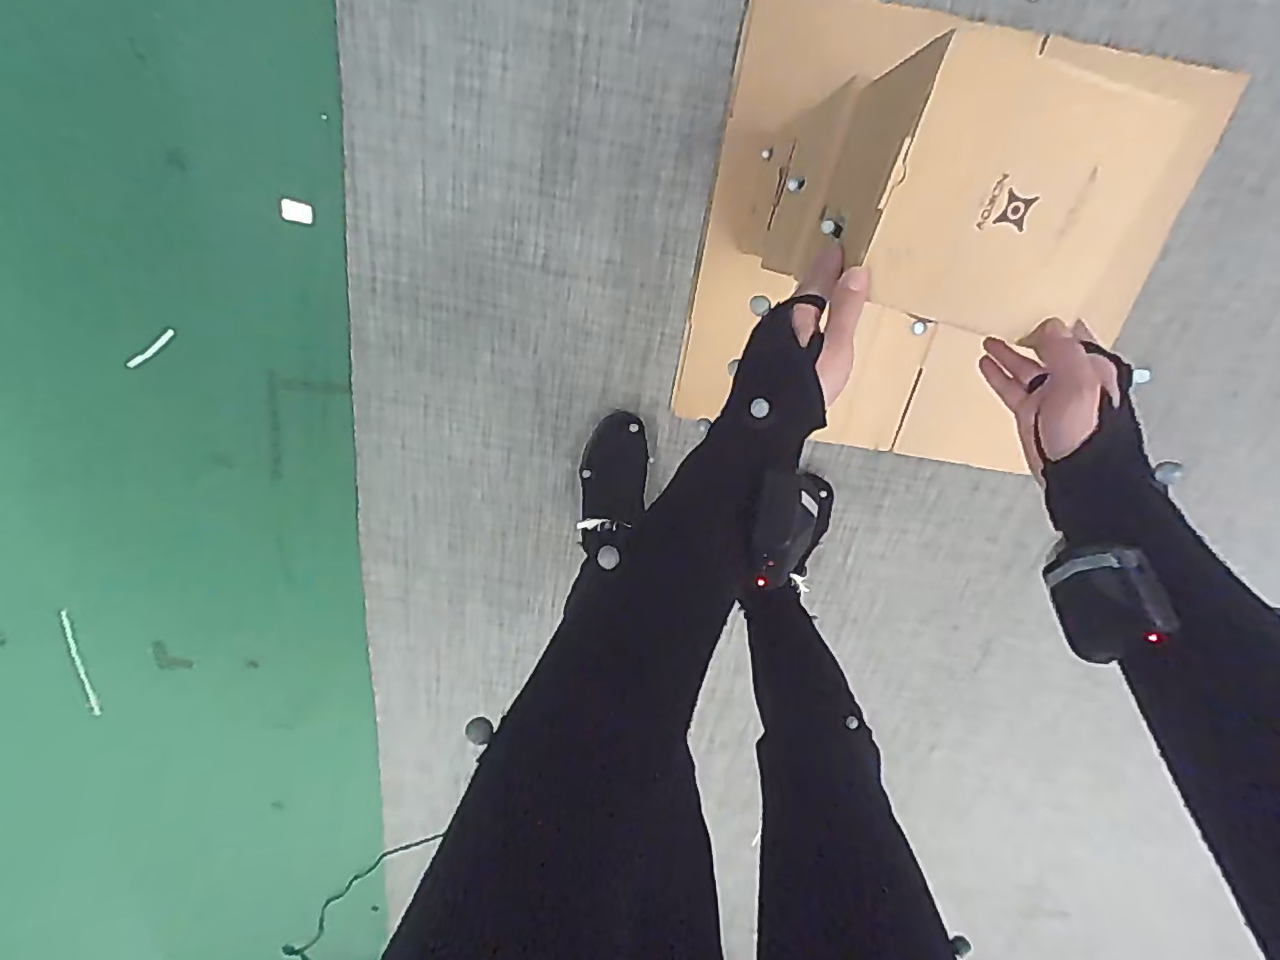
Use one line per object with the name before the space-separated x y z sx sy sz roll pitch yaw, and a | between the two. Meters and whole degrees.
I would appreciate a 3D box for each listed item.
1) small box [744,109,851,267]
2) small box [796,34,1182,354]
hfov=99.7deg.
small box | 0.255 -0.375 0.739 0.179 0.176 0.168 12 115 -5
small box | 0.251 -0.221 0.449 0.179 0.176 0.168 14 115 -5
